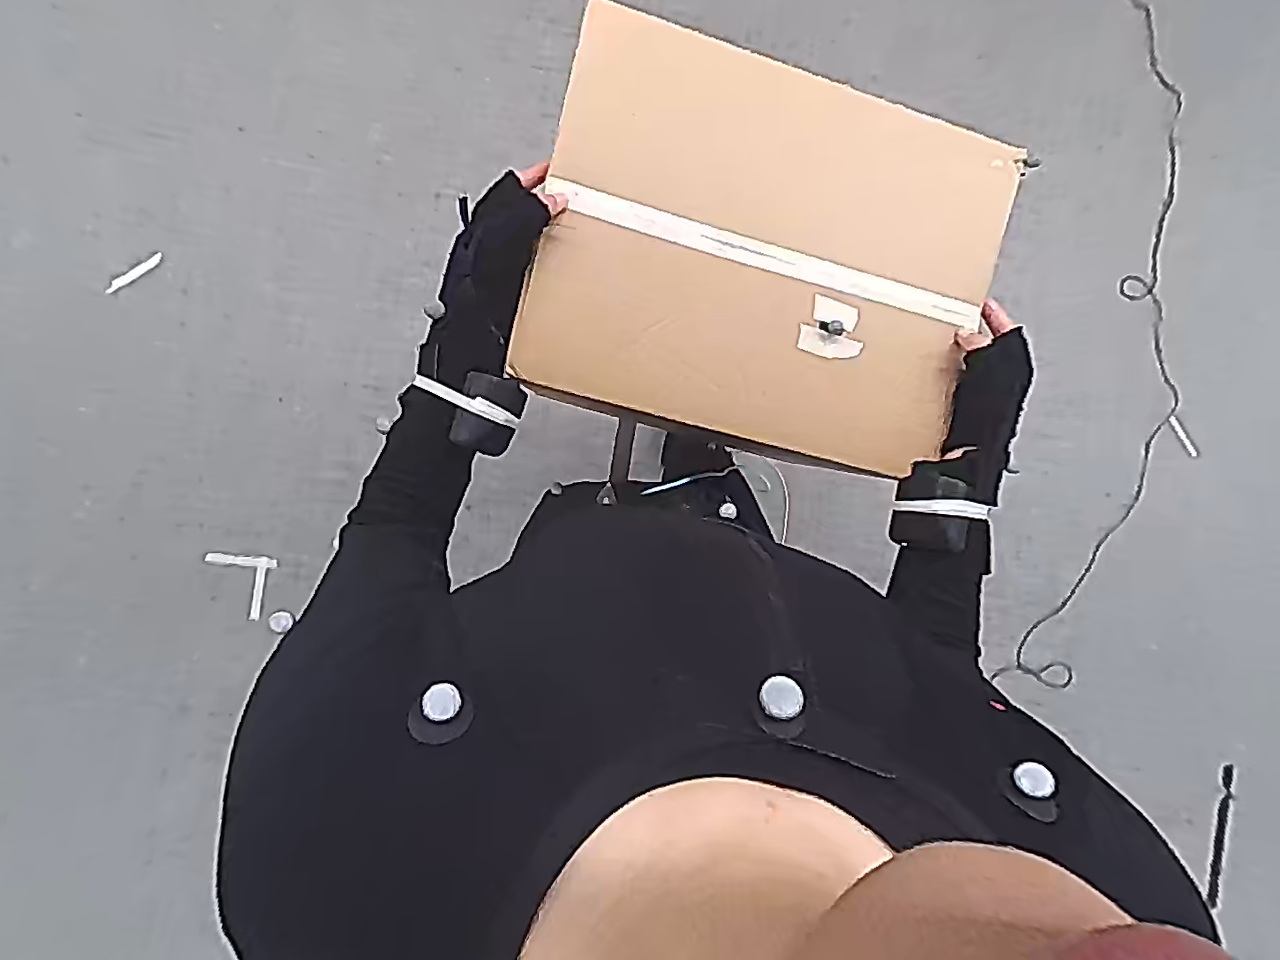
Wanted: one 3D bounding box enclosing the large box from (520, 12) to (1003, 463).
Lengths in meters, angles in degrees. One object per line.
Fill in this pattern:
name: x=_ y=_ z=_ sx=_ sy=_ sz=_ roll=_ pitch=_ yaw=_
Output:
large box: x=0.098 y=-0.221 z=0.637 sx=0.408 sy=0.320 sz=0.320 roll=13 pitch=95 yaw=-8
